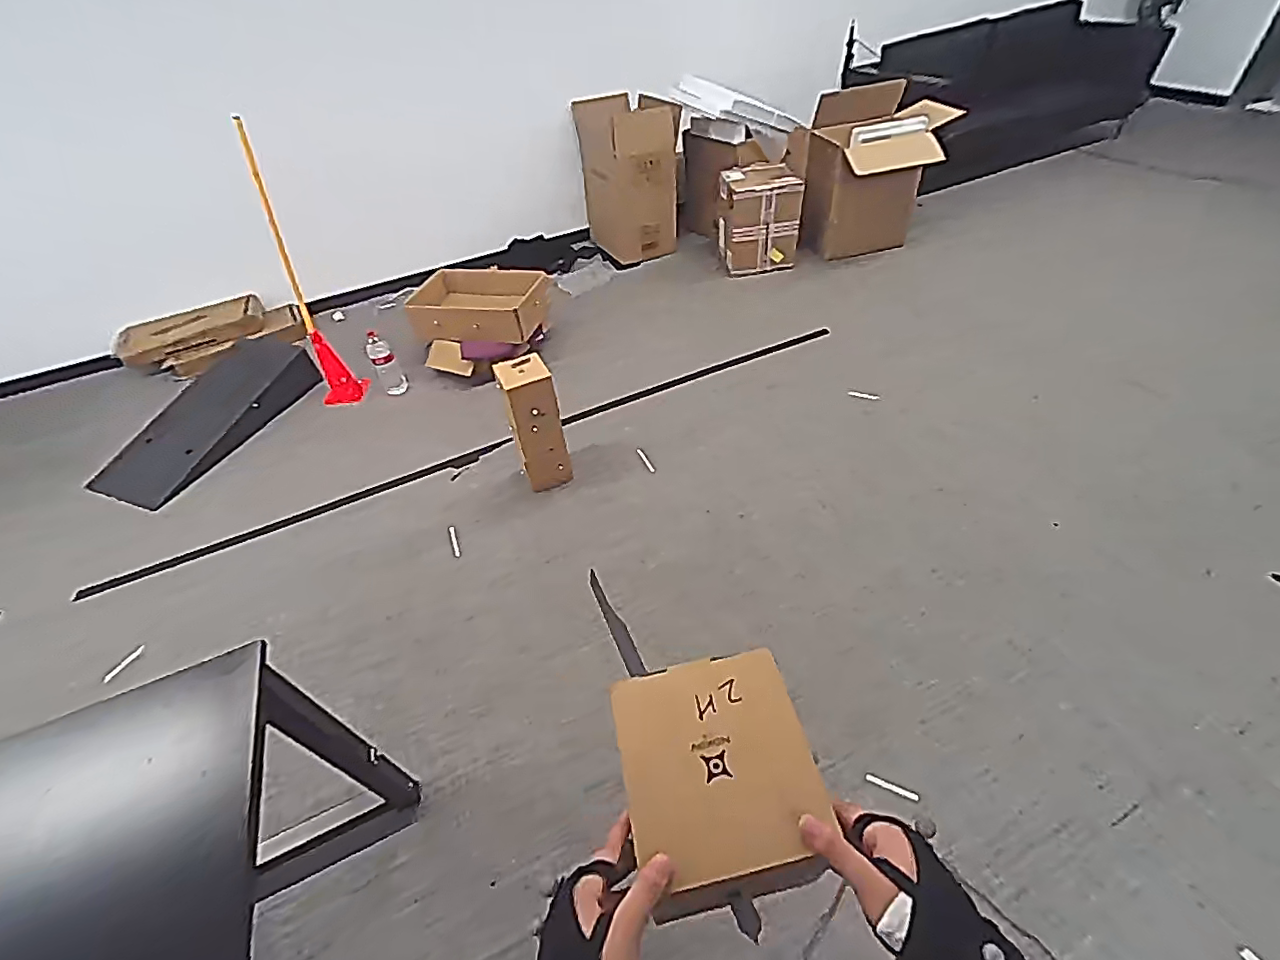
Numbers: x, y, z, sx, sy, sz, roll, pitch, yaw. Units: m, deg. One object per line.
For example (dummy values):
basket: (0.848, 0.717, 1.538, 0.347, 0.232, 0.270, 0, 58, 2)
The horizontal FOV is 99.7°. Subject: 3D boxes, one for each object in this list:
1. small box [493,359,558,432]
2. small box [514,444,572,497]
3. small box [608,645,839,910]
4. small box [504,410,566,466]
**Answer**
small box: (-0.407, -0.301, 1.932, 0.168, 0.176, 0.179, -22, 46, -15)
small box: (-0.382, -0.065, 2.160, 0.179, 0.176, 0.168, -22, 45, -13)
small box: (0.072, 0.296, 0.532, 0.168, 0.176, 0.179, -12, 45, -4)
small box: (-0.396, -0.181, 2.045, 0.168, 0.176, 0.179, -22, 45, -15)
